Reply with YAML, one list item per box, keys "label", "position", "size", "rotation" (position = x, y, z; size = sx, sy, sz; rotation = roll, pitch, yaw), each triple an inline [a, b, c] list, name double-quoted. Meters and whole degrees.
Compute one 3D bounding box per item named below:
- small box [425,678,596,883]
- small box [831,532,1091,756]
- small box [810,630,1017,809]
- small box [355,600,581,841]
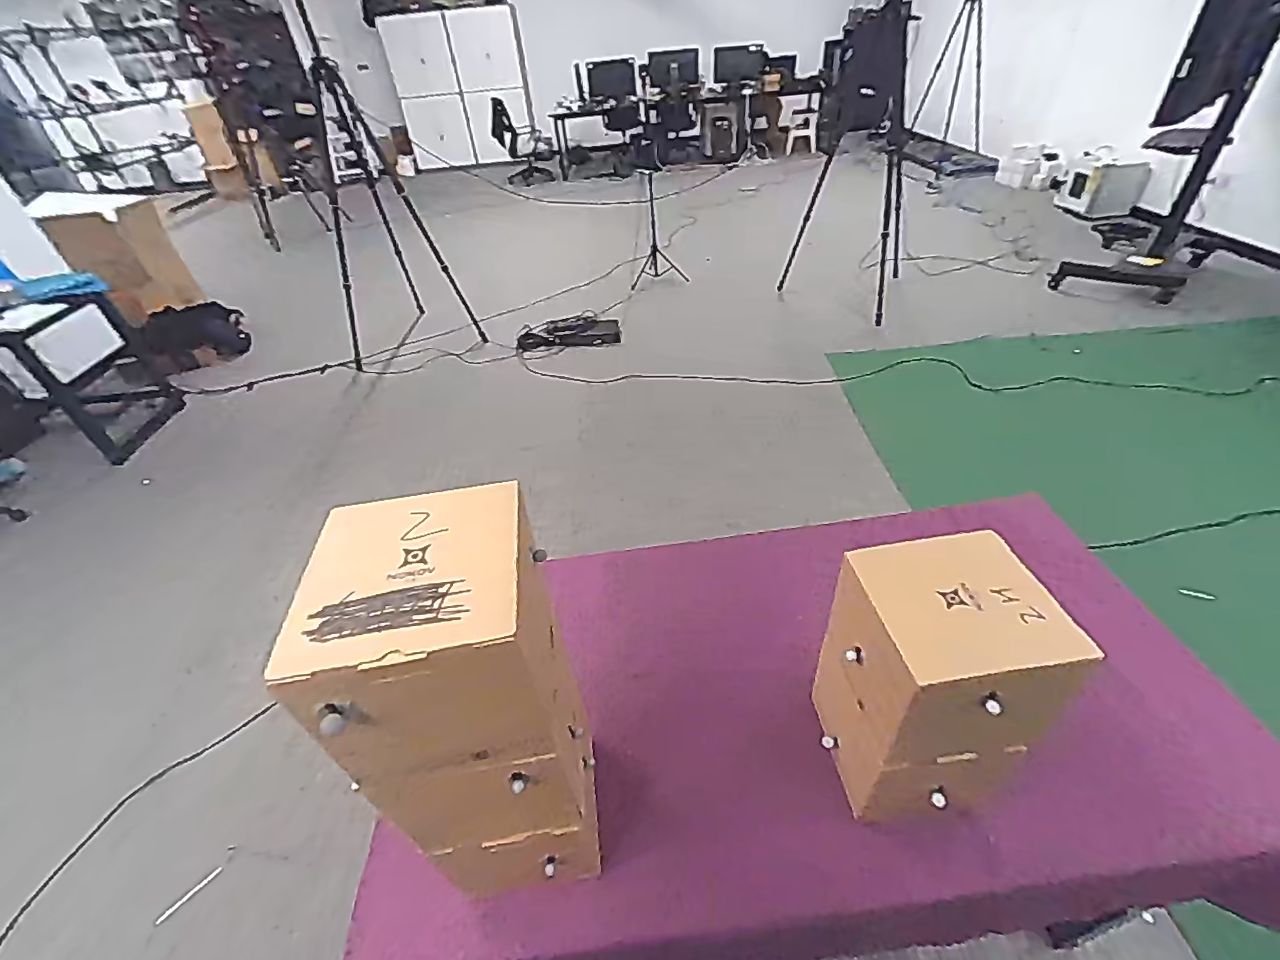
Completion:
- label: "small box"
  position: [-0.149, 0.379, 0.681]
  size: [0.168, 0.176, 0.179]
  rotation: [-7, 40, -3]
- label: "small box"
  position: [0.325, 0.183, 0.599]
  size: [0.179, 0.176, 0.168]
  rotation: [-7, 40, -2]
- label: "small box"
  position: [0.336, 0.308, 0.707]
  size: [0.168, 0.176, 0.179]
  rotation: [-7, 41, -1]
- label: "small box"
  position: [-0.164, 0.256, 0.576]
  size: [0.179, 0.176, 0.168]
  rotation: [-8, 40, -5]
